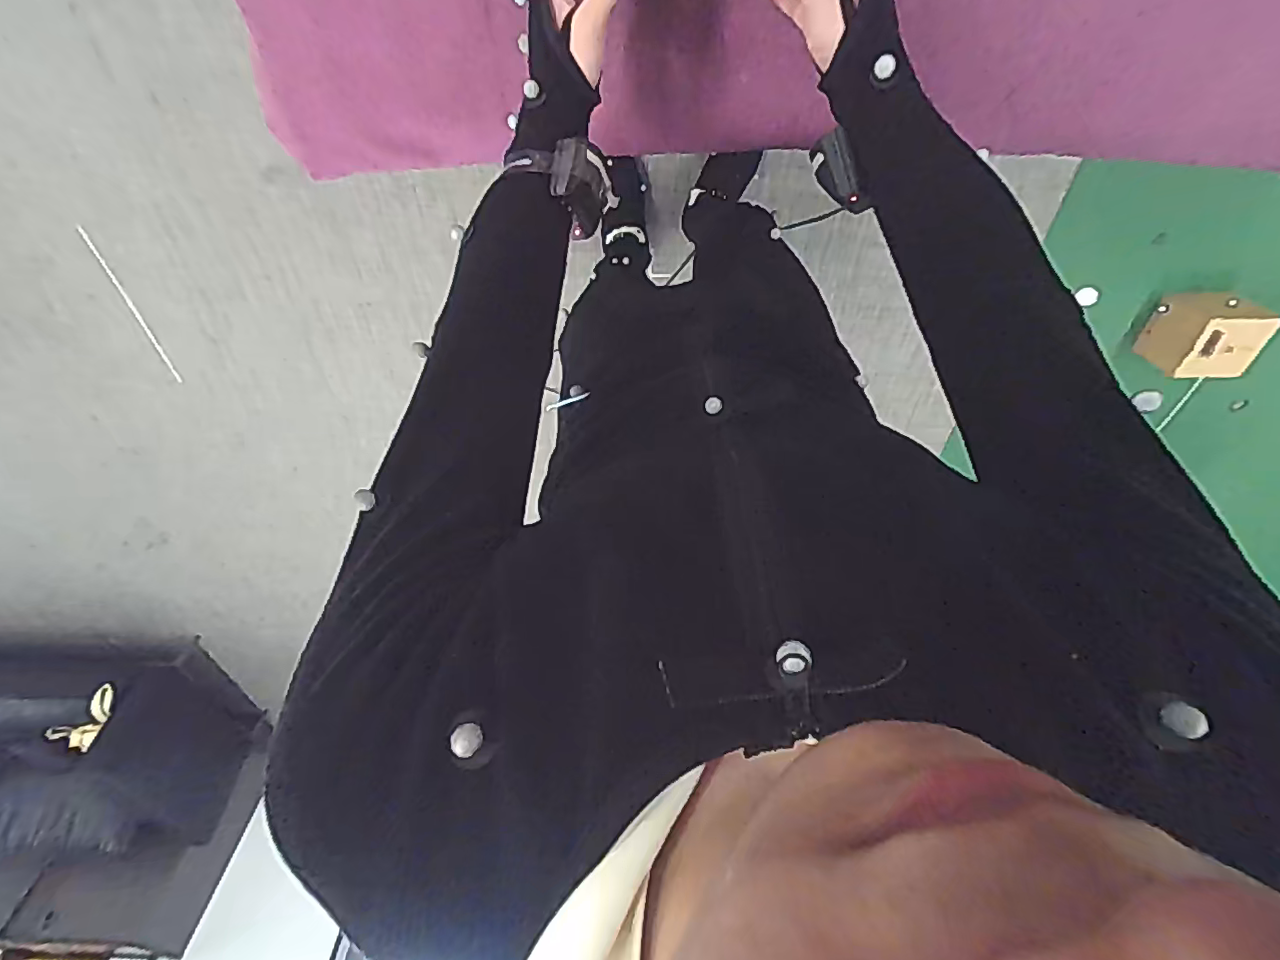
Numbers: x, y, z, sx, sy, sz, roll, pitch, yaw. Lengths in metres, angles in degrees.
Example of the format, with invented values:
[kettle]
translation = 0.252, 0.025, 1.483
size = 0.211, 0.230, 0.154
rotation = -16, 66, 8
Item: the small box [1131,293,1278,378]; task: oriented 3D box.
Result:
[small box]
translation = 1.484, -0.387, 1.439
size = 0.179, 0.176, 0.168
rotation = 0, 131, 2
